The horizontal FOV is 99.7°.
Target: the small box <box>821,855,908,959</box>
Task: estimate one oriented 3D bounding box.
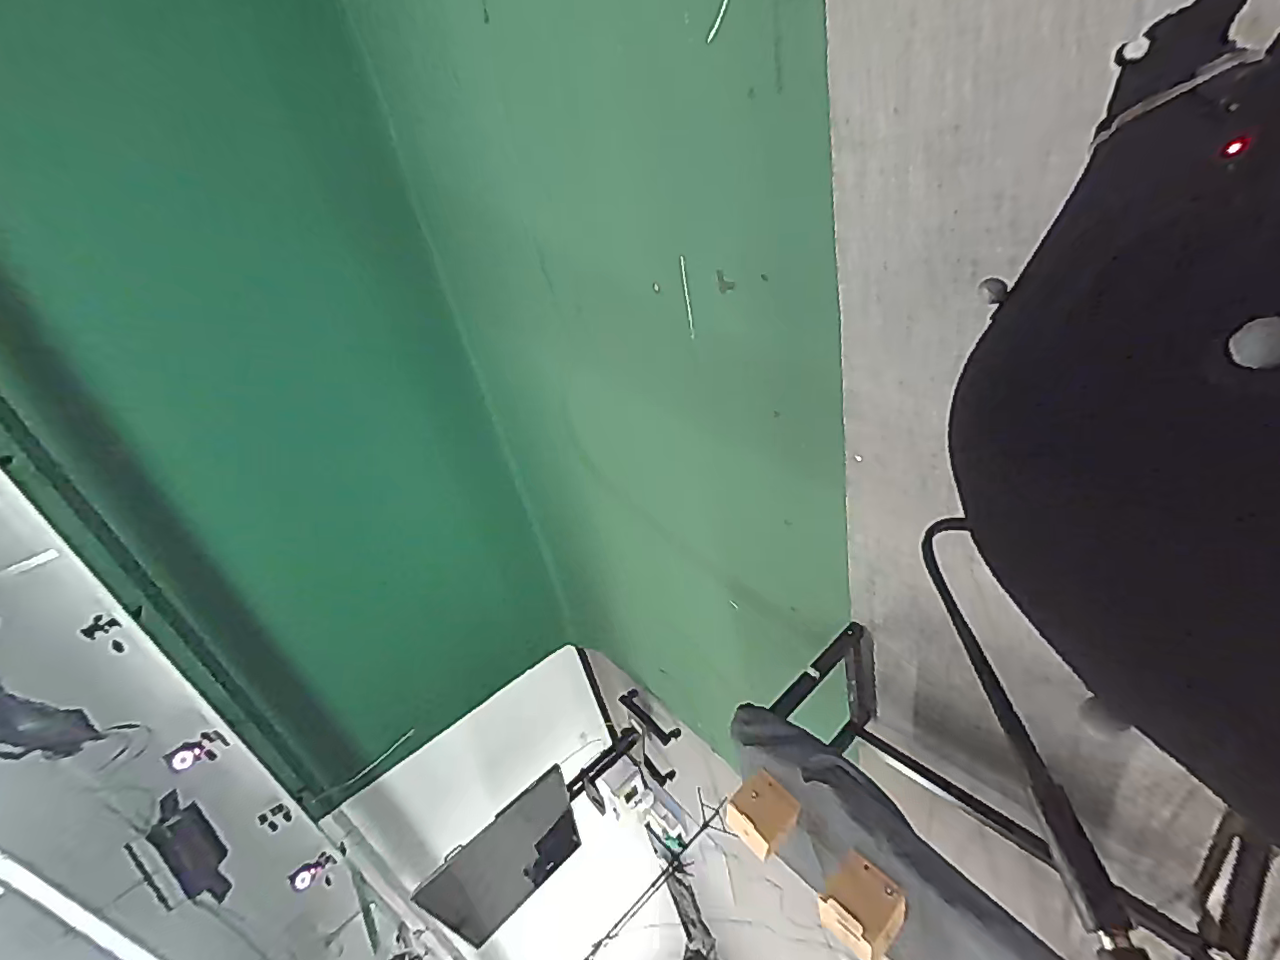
[{"bbox_3d":[0.629,1.208,1.514,0.168,0.176,0.179,23,136,48],"label":"small box"}]

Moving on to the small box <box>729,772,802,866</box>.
[{"bbox_3d":[0.408,1.093,1.757,0.168,0.176,0.179,34,144,39],"label":"small box"}]
